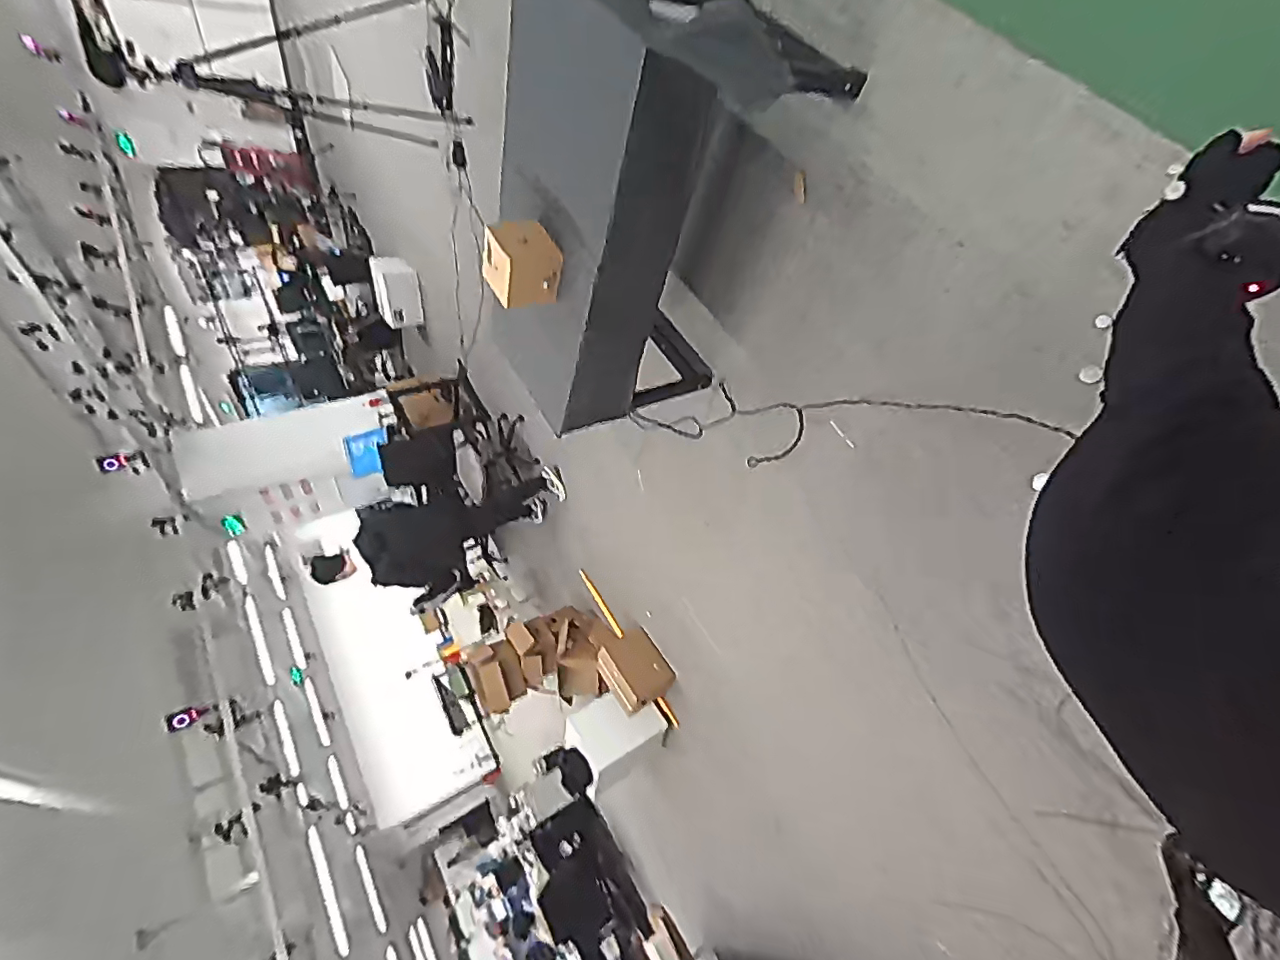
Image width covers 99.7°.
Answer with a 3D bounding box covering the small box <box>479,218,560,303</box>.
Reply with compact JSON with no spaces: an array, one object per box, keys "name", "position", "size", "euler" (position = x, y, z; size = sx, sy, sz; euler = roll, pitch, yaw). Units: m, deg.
[{"name":"small box","position":[-0.358,-0.650,1.599],"size":[0.179,0.176,0.168],"euler":[56,147,22]}]
